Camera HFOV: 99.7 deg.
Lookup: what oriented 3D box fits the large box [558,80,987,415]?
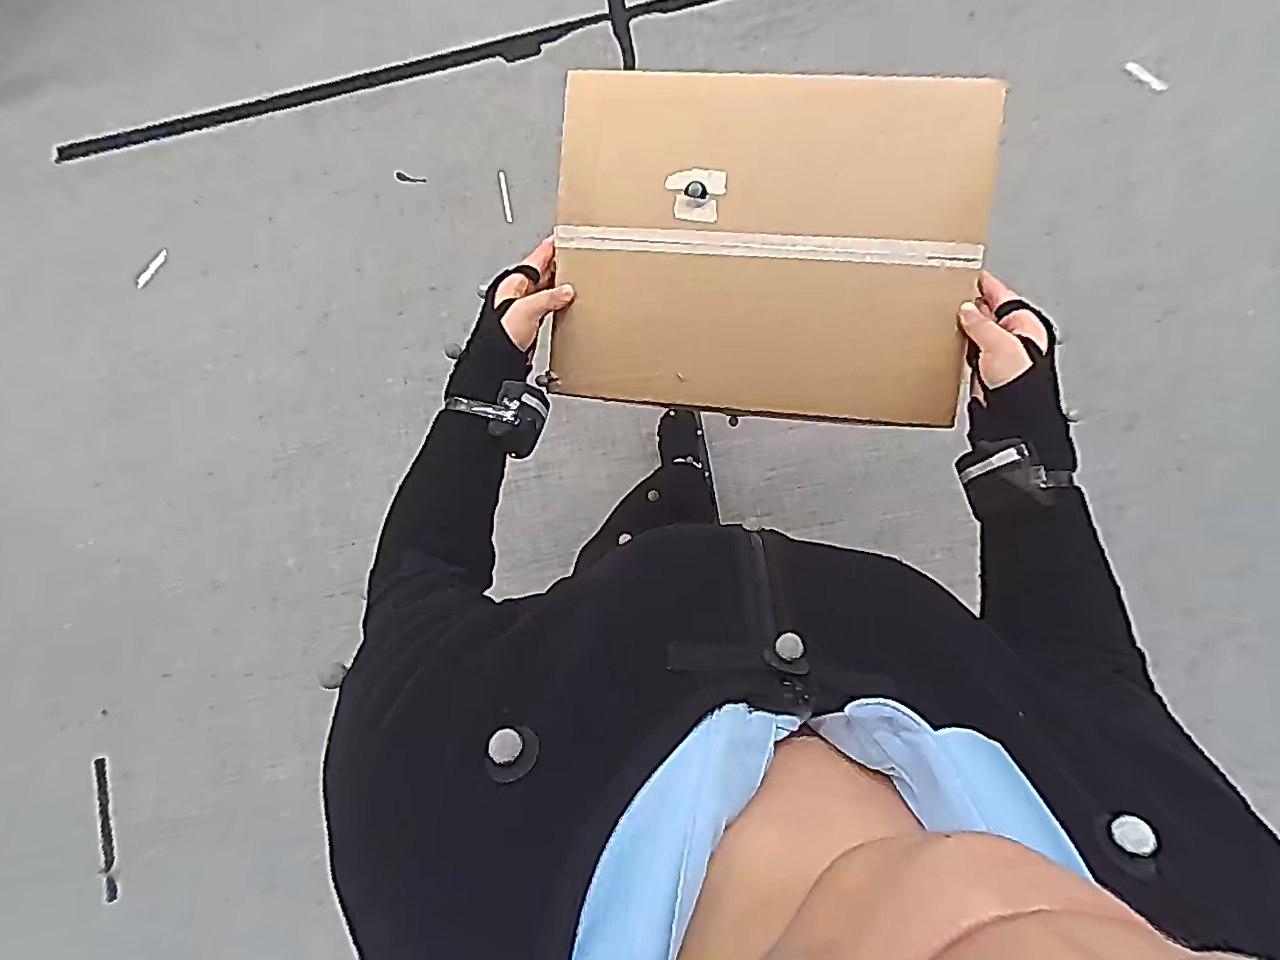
[{"bbox_3d":[0.138,-0.248,0.685,0.408,0.320,0.320,5,96,7],"label":"large box"}]
